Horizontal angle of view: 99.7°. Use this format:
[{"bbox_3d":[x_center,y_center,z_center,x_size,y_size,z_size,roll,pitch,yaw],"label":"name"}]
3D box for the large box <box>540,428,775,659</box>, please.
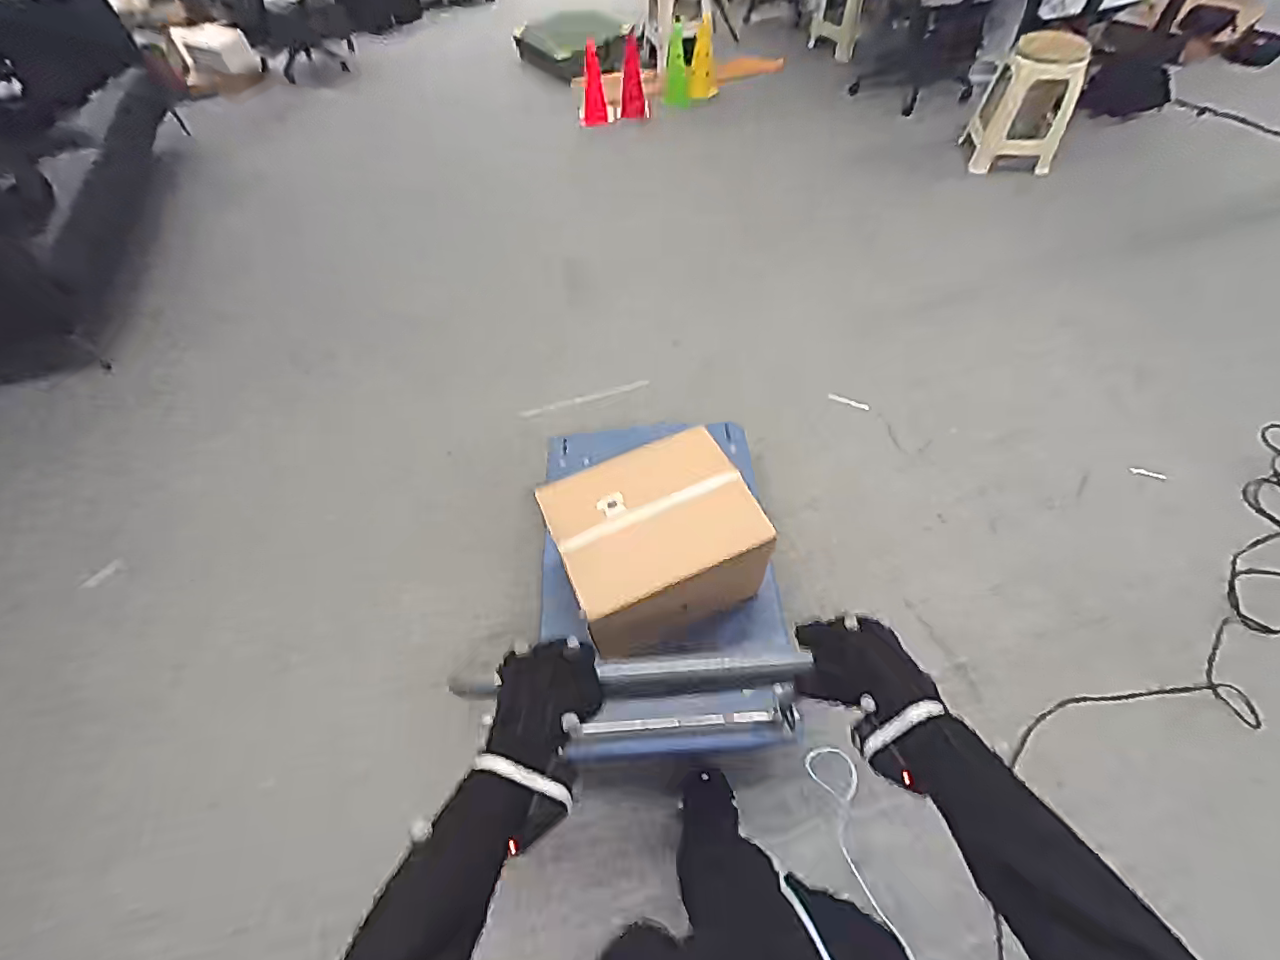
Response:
[{"bbox_3d":[0.037,0.150,1.226,0.408,0.320,0.320,-23,58,-10],"label":"large box"}]
